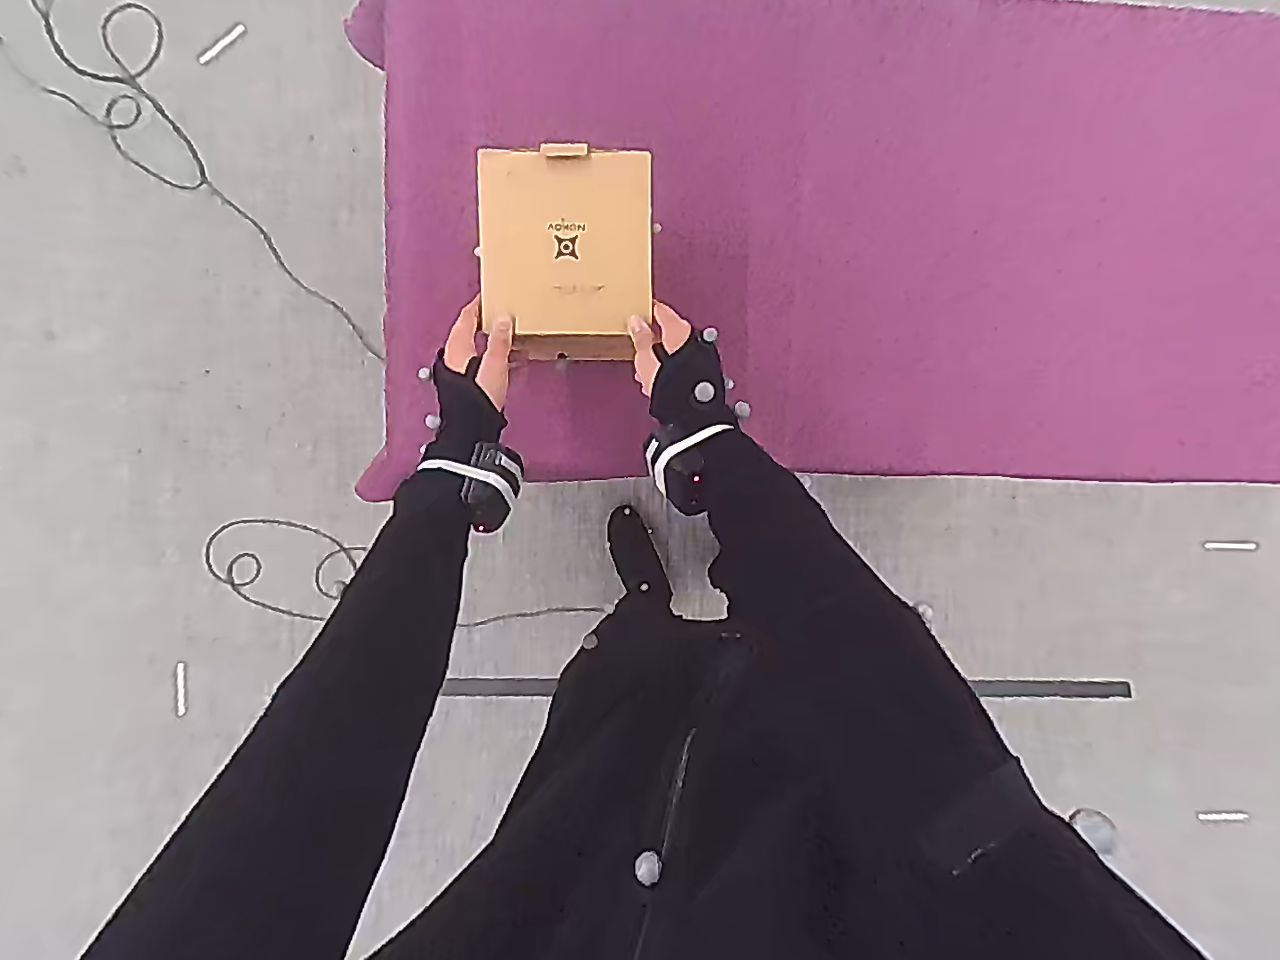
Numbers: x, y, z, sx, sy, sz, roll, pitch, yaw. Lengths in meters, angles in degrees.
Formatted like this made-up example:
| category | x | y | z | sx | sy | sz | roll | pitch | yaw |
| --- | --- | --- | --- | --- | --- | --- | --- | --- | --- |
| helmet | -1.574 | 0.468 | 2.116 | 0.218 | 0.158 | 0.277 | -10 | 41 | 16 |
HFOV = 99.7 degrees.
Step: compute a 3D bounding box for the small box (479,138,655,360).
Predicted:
| category | x | y | z | sx | sy | sz | roll | pitch | yaw |
| --- | --- | --- | --- | --- | --- | --- | --- | --- | --- |
| small box | -0.073 | -0.234 | 0.588 | 0.168 | 0.176 | 0.179 | 0 | 94 | -3 |
